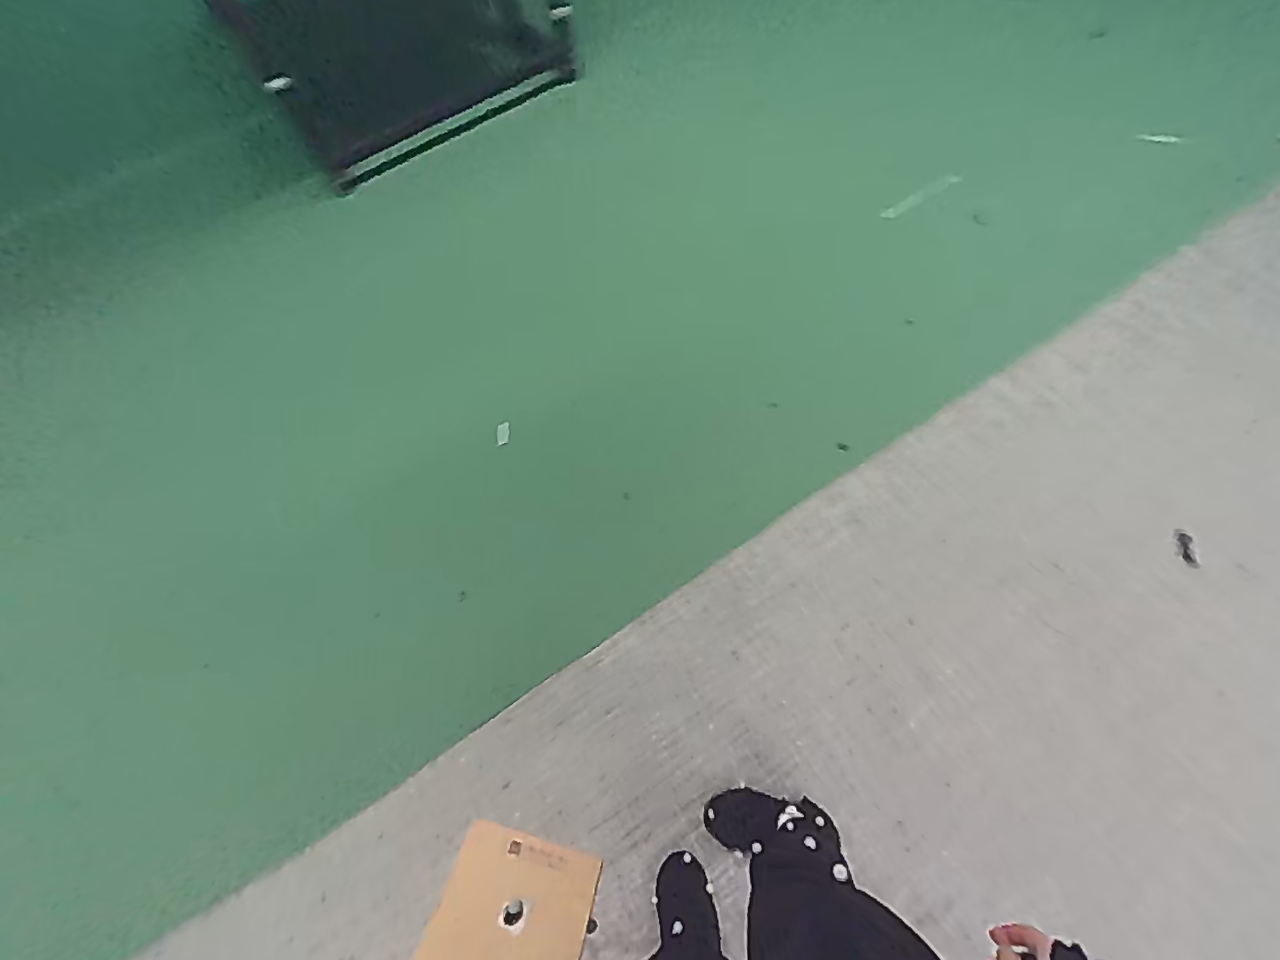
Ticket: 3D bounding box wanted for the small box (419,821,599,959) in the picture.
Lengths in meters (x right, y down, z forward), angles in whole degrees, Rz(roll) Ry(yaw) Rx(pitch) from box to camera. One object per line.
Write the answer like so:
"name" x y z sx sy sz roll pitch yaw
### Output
"small box" -0.154 0.536 0.629 0.168 0.179 0.176 17 33 2
